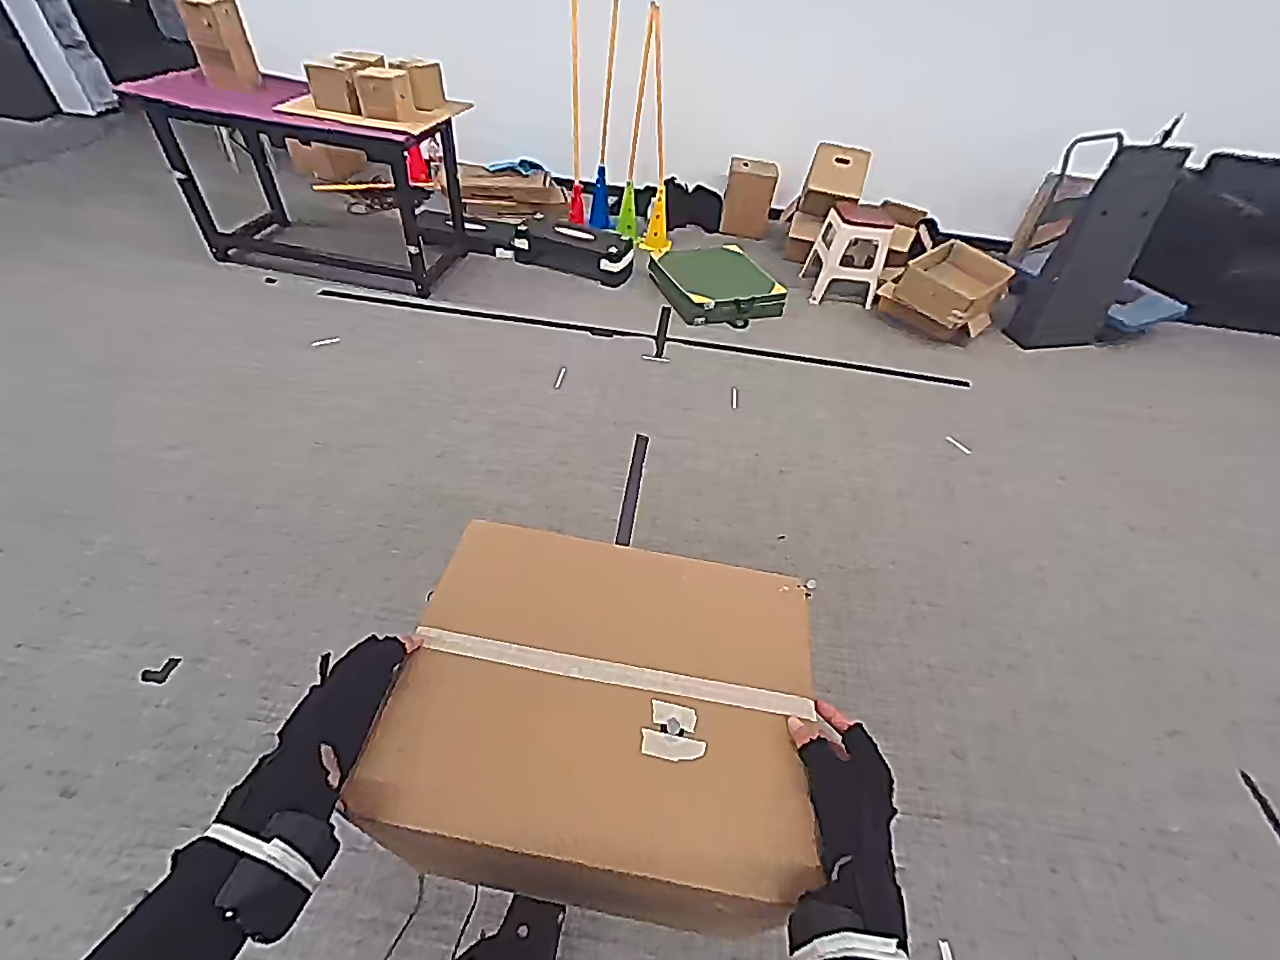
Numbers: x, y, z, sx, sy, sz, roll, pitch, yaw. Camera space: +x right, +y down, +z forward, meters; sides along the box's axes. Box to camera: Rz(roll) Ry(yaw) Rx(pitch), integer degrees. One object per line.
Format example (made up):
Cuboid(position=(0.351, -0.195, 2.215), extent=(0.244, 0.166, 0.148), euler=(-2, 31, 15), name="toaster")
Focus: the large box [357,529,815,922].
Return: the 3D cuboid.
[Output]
Cuboid(position=(-0.043, 0.301, 0.663), extent=(0.408, 0.320, 0.320), euler=(10, 48, 2), name="large box")
